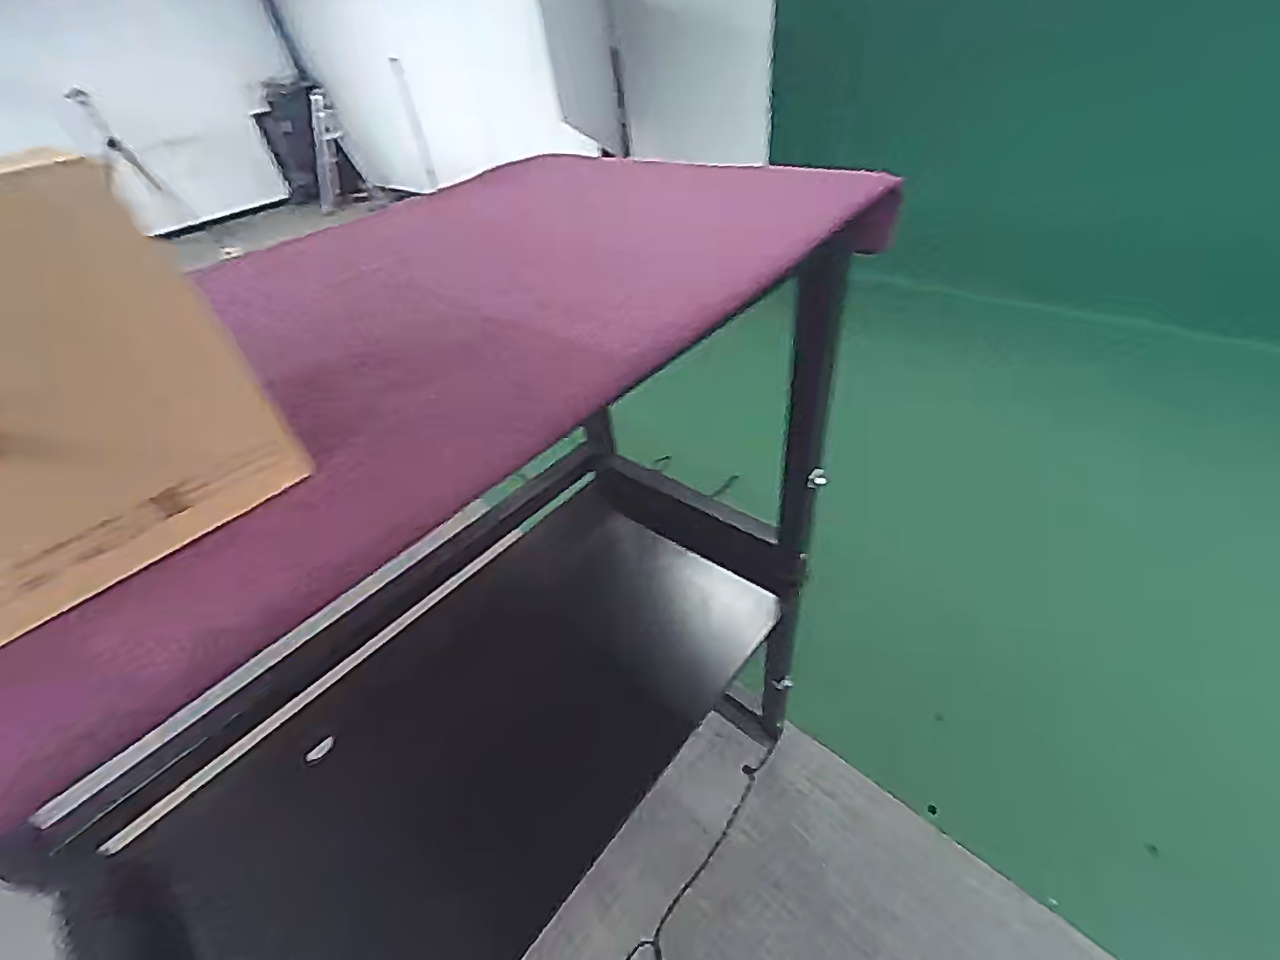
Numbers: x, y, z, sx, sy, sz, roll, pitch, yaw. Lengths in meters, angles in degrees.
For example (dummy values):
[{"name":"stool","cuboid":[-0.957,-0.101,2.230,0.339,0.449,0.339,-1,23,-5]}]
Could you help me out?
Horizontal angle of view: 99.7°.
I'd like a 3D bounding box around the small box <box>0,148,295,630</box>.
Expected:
[{"name":"small box","cuboid":[-0.317,-0.047,0.269,0.179,0.176,0.168,26,52,35]}]
